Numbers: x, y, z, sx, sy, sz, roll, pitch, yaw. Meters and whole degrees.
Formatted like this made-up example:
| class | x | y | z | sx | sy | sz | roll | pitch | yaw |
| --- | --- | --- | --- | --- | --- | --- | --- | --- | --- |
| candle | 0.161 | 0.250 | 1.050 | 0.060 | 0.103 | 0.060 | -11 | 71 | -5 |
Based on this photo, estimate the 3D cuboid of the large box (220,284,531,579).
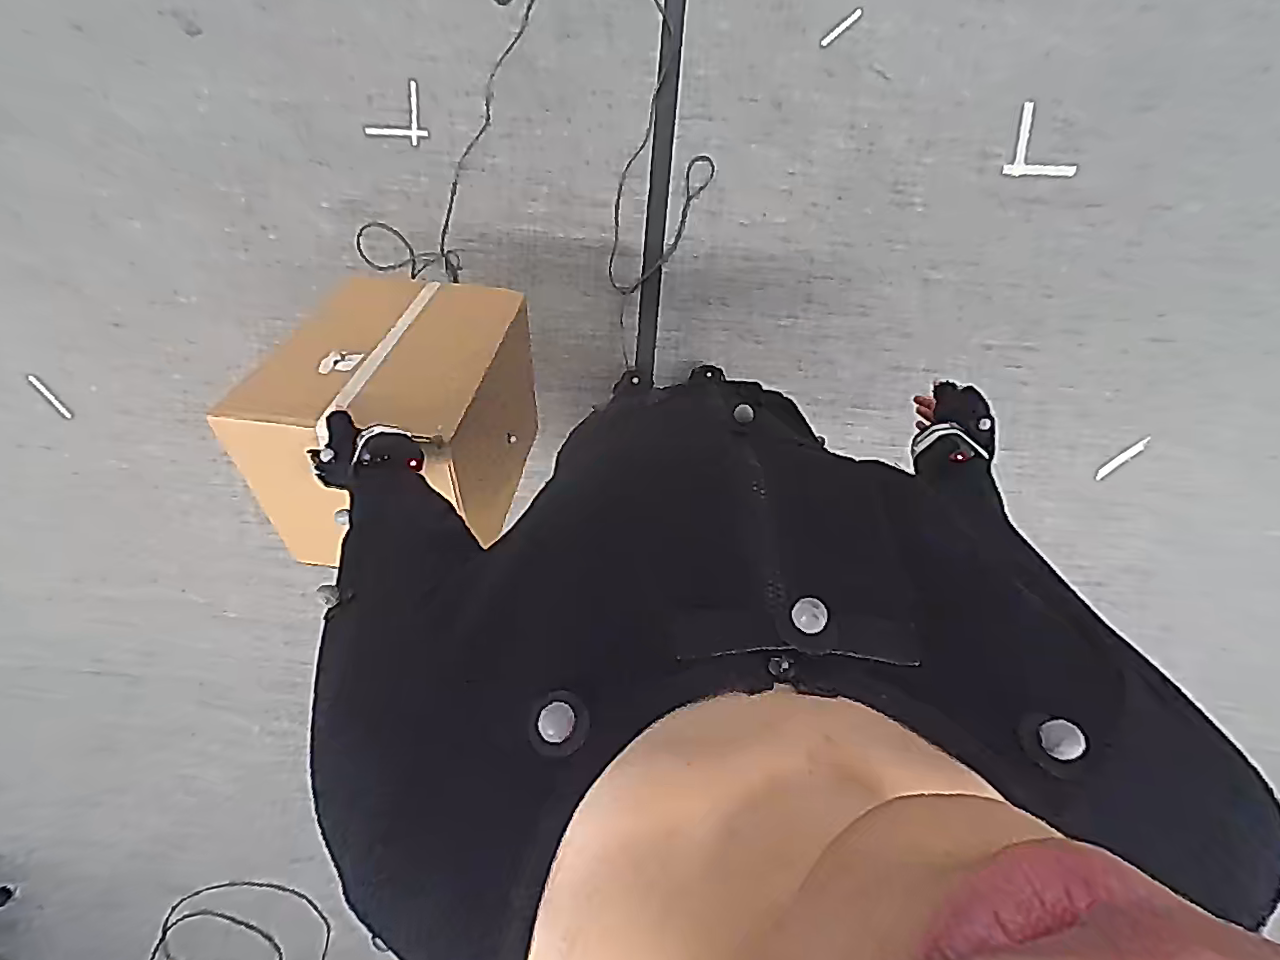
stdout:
| class | x | y | z | sx | sy | sz | roll | pitch | yaw |
| --- | --- | --- | --- | --- | --- | --- | --- | --- | --- |
| large box | -0.389 | -0.093 | 0.938 | 0.320 | 0.408 | 0.320 | 6 | 135 | 2 |
